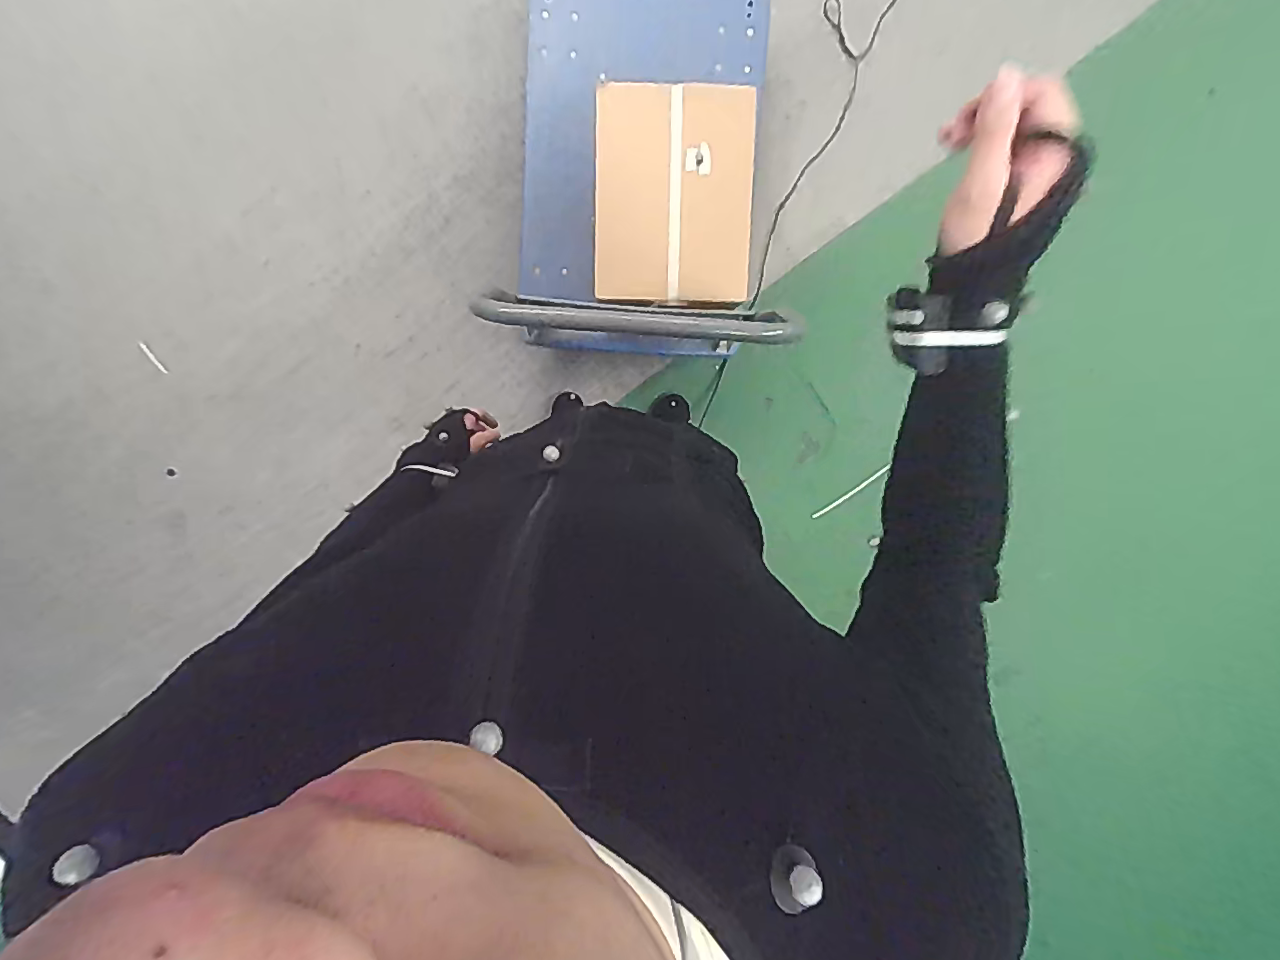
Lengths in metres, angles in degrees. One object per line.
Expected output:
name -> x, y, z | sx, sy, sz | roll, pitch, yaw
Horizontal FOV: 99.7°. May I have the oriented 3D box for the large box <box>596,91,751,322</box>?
large box -> 0.064, -0.588, 1.242 | 0.320, 0.320, 0.408 | 1, 98, -2
